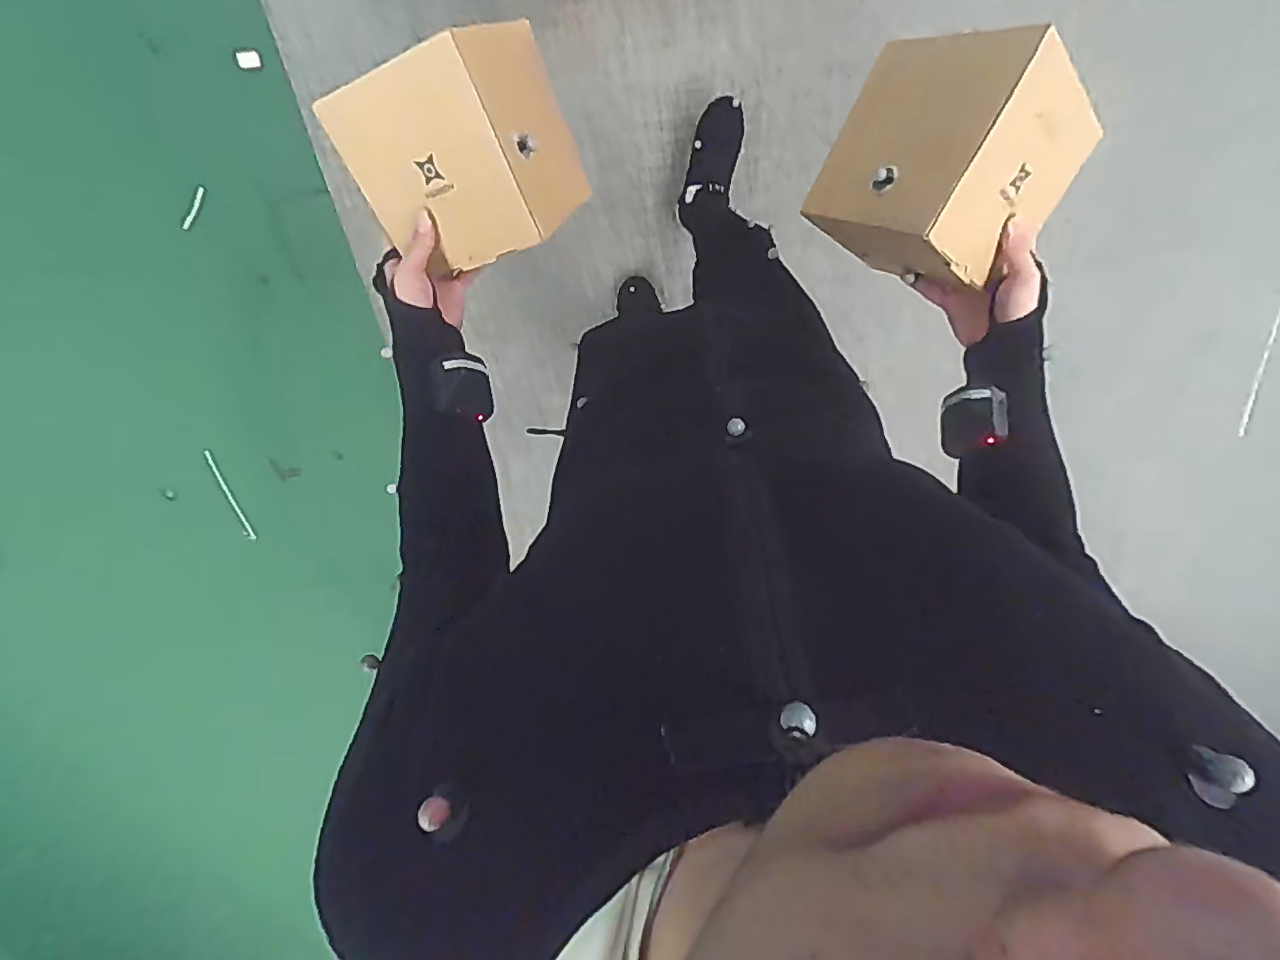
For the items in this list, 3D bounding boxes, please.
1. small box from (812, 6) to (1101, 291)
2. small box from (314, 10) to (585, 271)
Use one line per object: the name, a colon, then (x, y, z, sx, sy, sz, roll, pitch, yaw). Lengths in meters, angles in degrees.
small box: (0.308, -0.326, 0.558, 0.168, 0.176, 0.179, 12, 113, -38)
small box: (-0.180, -0.354, 0.568, 0.168, 0.176, 0.179, -7, 130, 23)
